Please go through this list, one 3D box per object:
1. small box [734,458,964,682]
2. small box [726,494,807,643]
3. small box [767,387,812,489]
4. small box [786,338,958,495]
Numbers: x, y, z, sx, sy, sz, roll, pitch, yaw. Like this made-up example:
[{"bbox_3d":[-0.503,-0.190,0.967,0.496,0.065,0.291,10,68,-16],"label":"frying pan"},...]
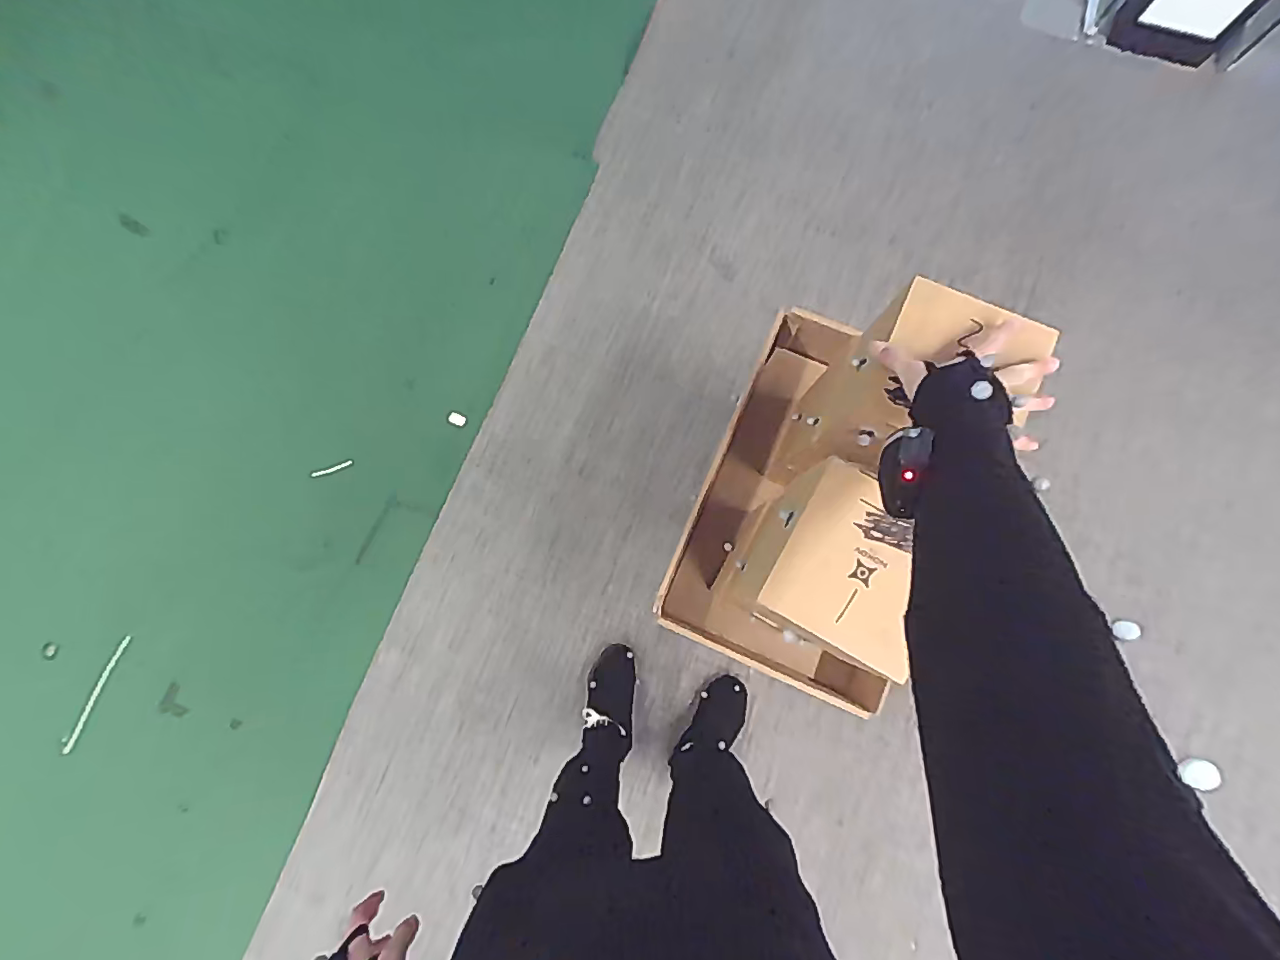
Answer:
[{"bbox_3d":[0.226,0.102,0.634,0.168,0.176,0.179,30,82,6],"label":"small box"},{"bbox_3d":[0.238,0.132,0.794,0.168,0.176,0.179,29,81,5],"label":"small box"},{"bbox_3d":[0.349,-0.060,0.995,0.168,0.176,0.179,23,83,6],"label":"small box"},{"bbox_3d":[0.343,-0.083,0.835,0.168,0.176,0.179,23,84,4],"label":"small box"}]
